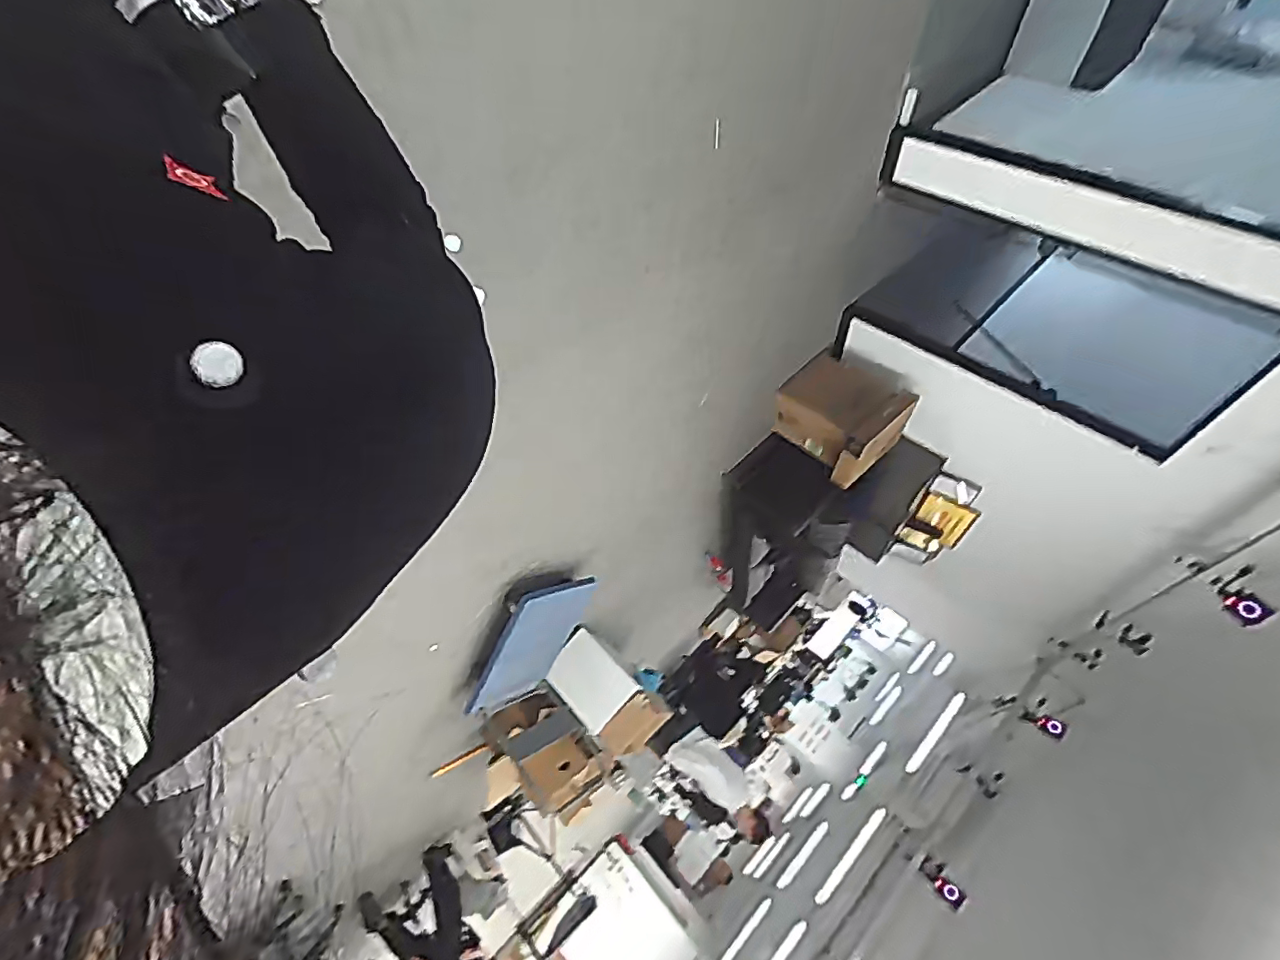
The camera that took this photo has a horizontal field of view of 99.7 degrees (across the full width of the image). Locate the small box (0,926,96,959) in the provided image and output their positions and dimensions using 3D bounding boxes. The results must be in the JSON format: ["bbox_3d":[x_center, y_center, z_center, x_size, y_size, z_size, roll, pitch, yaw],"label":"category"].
[{"bbox_3d":[-1.103,0.924,0.935,0.168,0.176,0.179,-40,151,-19],"label":"small box"}]
